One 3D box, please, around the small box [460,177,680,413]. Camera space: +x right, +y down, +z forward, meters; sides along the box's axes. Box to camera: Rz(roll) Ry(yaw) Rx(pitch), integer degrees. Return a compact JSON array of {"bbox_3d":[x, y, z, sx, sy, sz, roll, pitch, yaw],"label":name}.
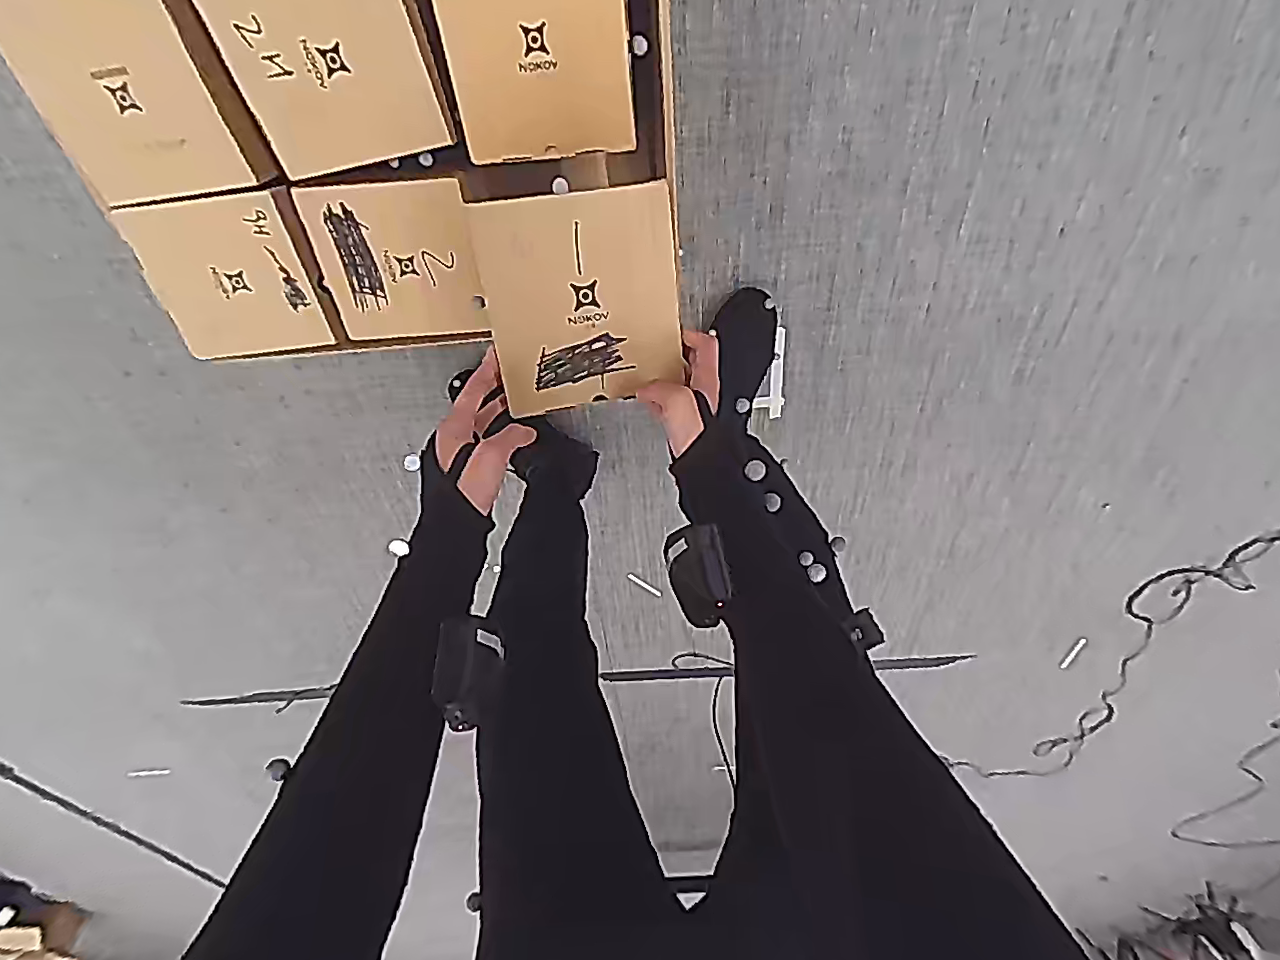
[{"bbox_3d":[-0.066,-0.183,0.525,0.168,0.176,0.179,-12,116,-9],"label":"small box"}]
